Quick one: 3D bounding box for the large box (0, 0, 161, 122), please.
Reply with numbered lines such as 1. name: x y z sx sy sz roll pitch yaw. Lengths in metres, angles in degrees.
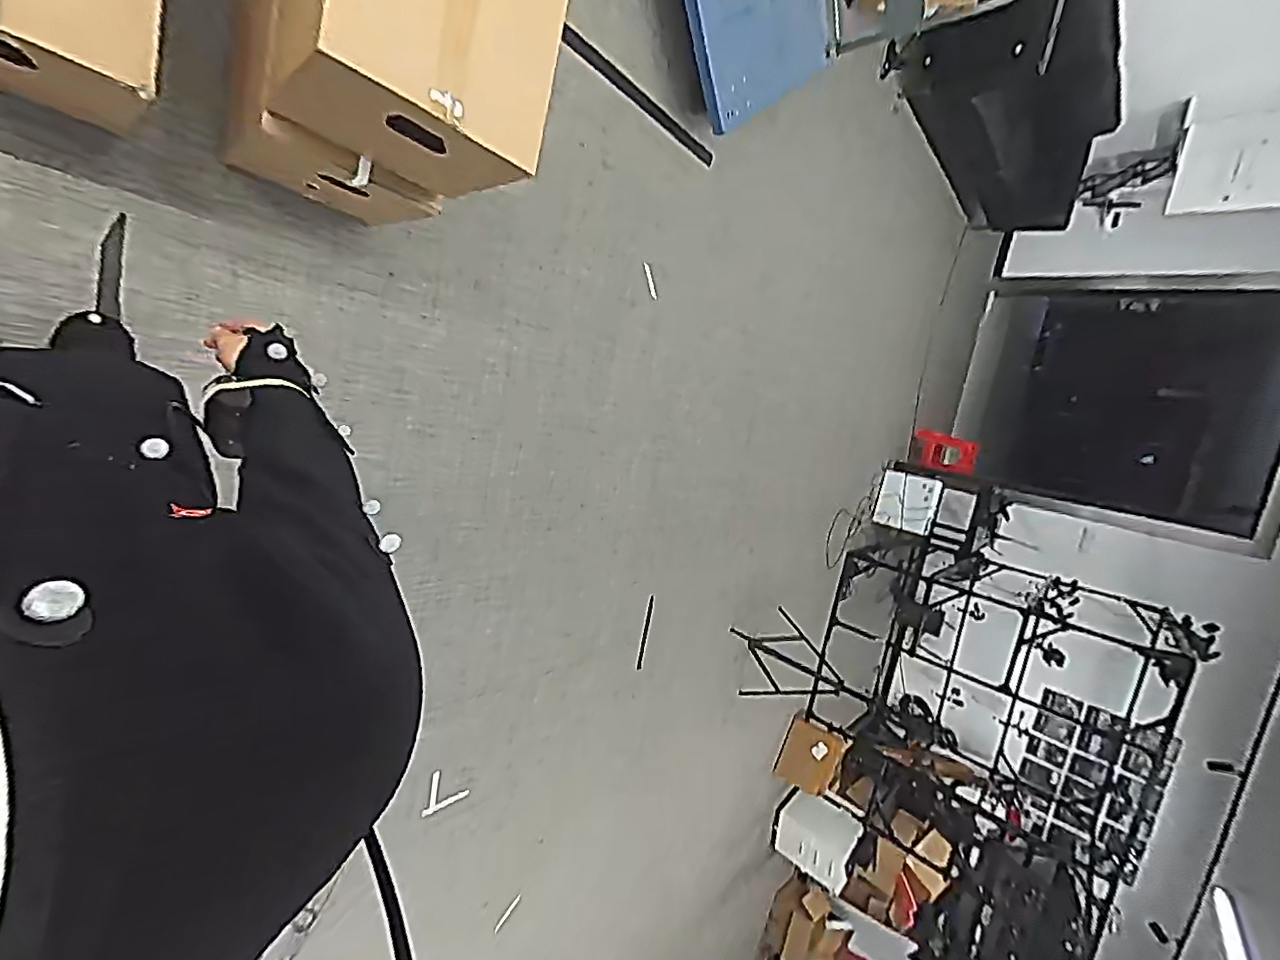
1. large box: -0.855 -0.777 0.706 0.320 0.320 0.408 2 103 -49
